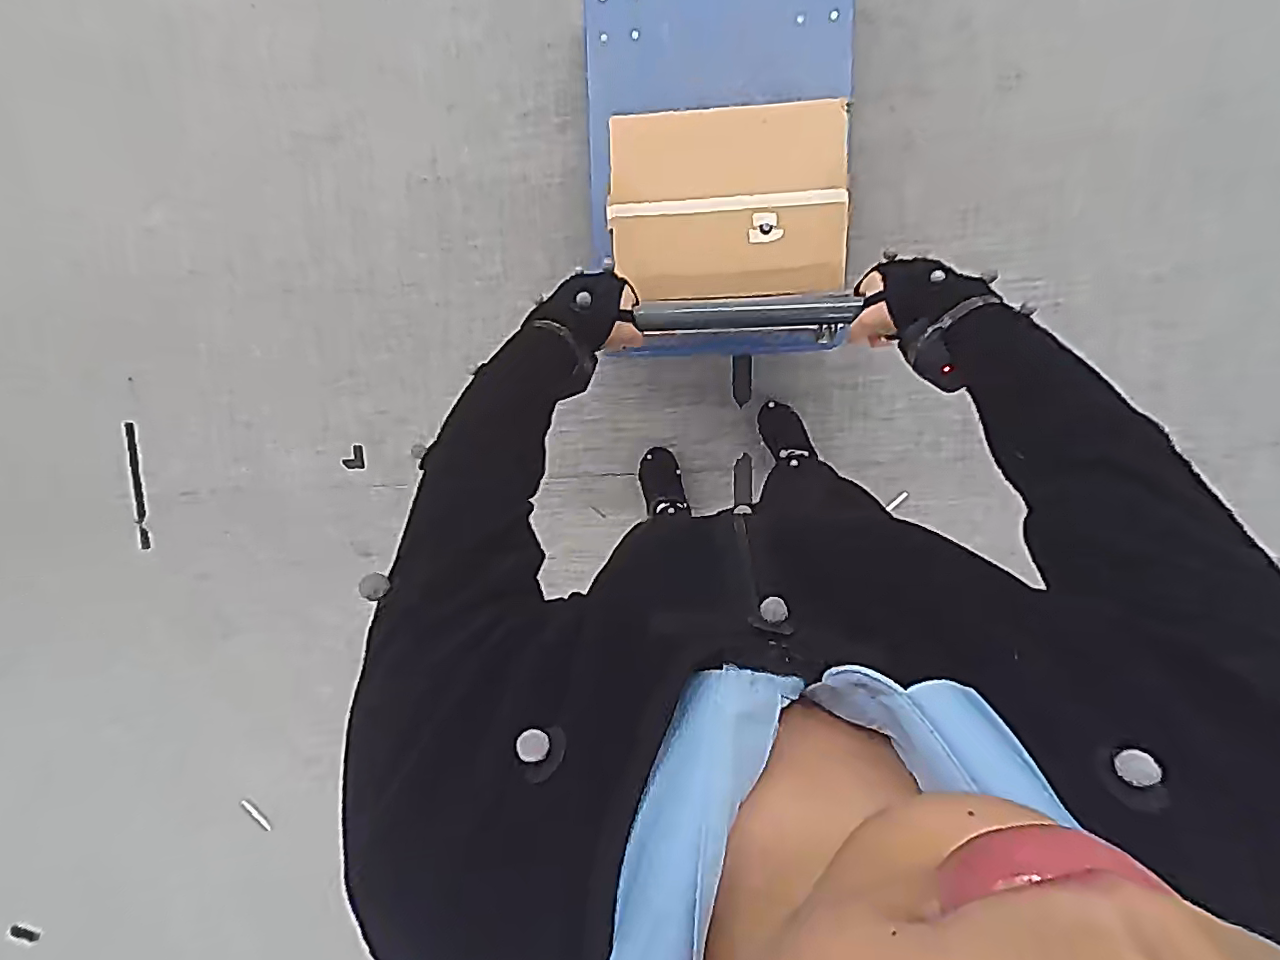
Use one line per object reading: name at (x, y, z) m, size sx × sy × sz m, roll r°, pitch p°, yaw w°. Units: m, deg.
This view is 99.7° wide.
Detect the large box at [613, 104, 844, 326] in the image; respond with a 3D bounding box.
large box at (0.165, -0.502, 1.102) m, size 0.408 × 0.320 × 0.320 m, roll -1°, pitch 98°, yaw 5°
